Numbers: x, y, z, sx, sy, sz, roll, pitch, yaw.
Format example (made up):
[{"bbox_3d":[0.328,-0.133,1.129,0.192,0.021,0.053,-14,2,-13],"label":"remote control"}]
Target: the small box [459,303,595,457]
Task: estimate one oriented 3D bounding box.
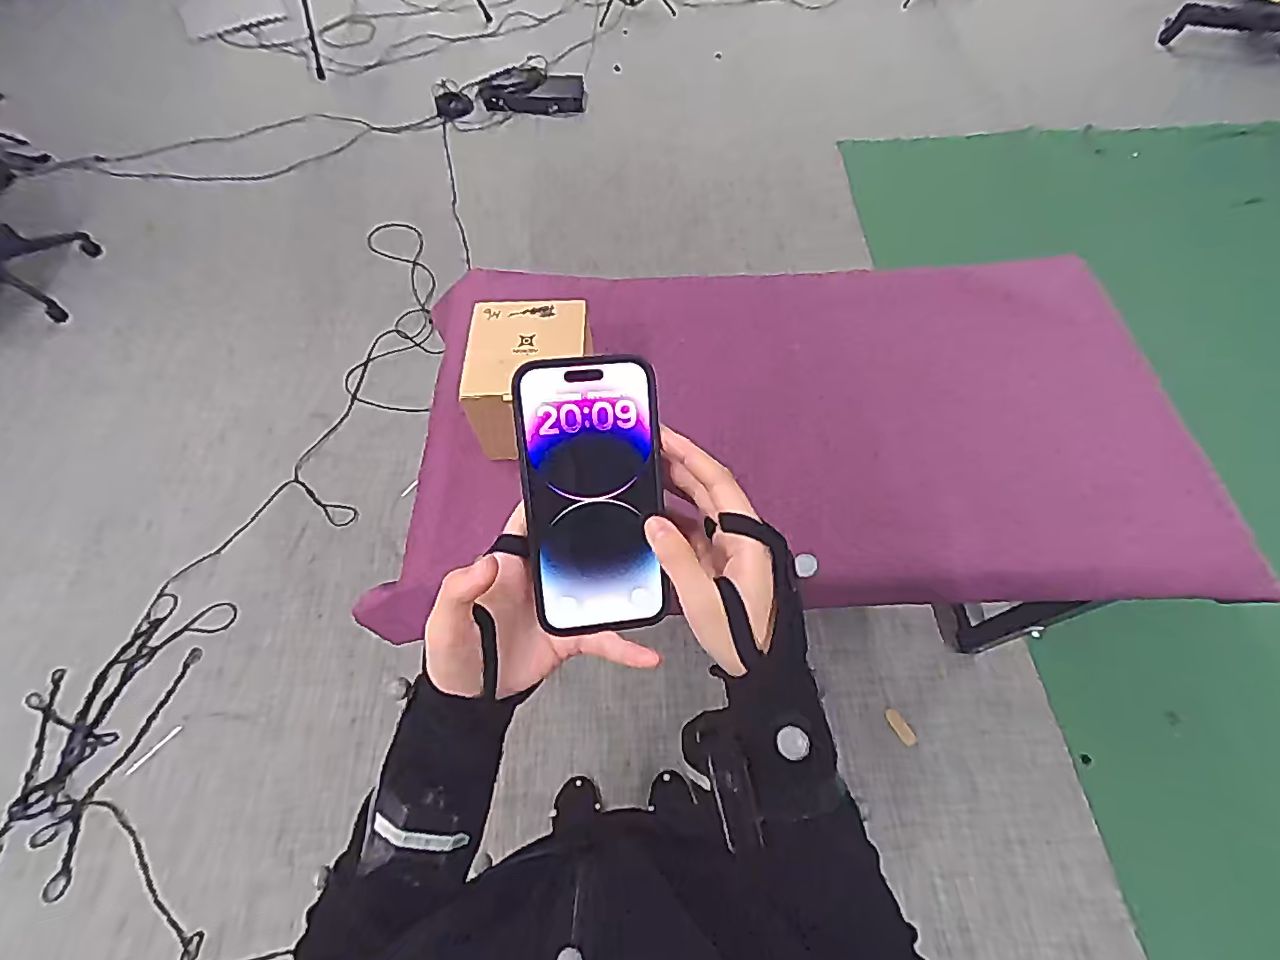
[{"bbox_3d":[-0.159,-0.145,0.829,0.168,0.176,0.179,-1,62,1],"label":"small box"}]
